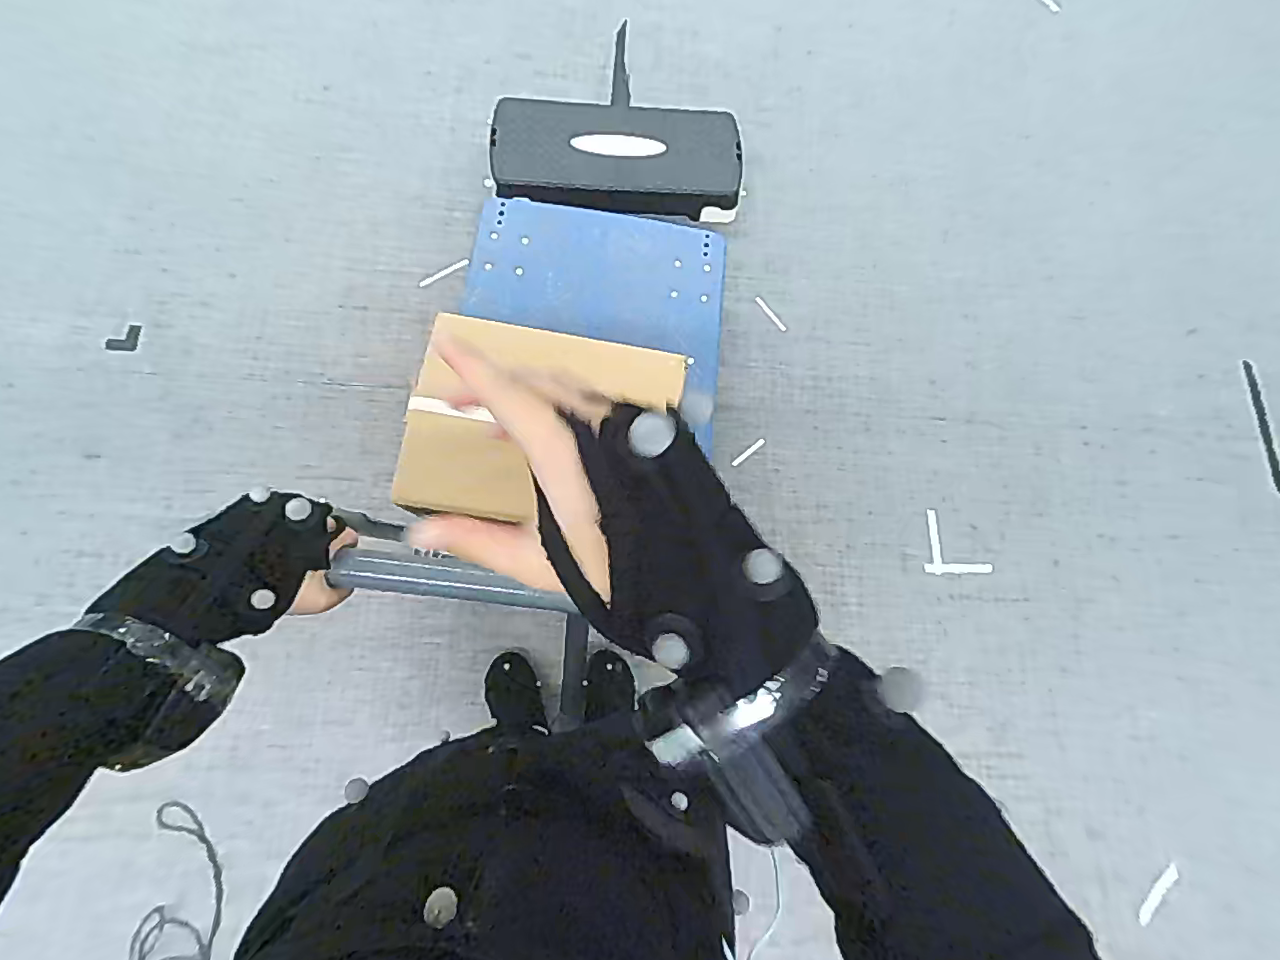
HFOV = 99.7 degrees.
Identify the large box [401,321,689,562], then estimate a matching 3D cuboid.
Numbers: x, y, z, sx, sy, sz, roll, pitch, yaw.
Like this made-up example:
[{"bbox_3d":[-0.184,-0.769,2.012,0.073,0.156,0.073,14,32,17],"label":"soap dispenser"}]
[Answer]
[{"bbox_3d":[-0.152,-0.043,0.976,0.408,0.320,0.320,10,76,-4],"label":"large box"}]
